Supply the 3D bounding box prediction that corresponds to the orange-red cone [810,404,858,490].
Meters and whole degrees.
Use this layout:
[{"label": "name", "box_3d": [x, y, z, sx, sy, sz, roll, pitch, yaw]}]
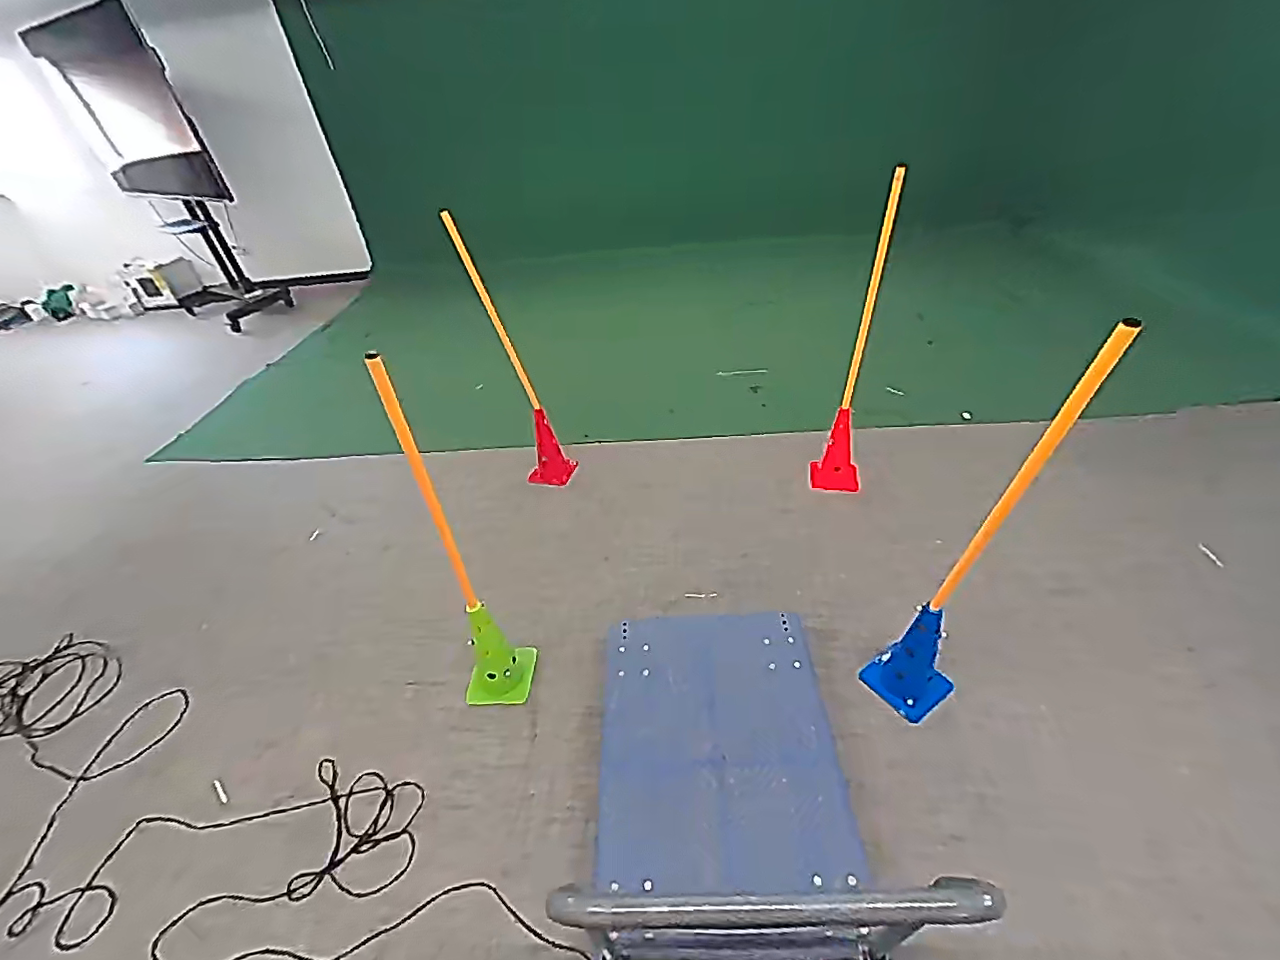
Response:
[{"label": "orange-red cone", "box_3d": [0.834, -0.155, 2.274, 0.198, 0.360, 0.199, 4, 40, 15]}]
